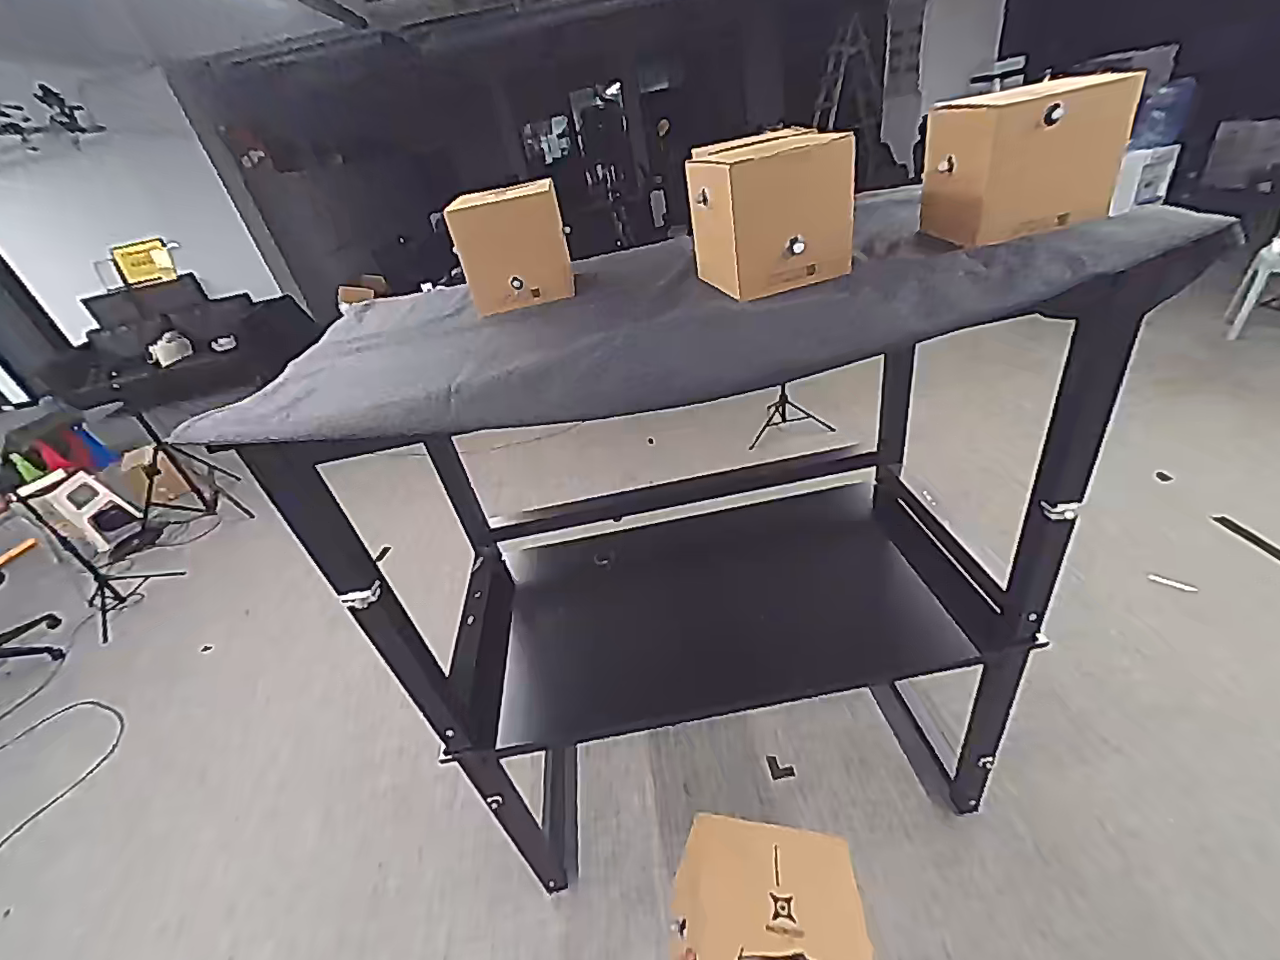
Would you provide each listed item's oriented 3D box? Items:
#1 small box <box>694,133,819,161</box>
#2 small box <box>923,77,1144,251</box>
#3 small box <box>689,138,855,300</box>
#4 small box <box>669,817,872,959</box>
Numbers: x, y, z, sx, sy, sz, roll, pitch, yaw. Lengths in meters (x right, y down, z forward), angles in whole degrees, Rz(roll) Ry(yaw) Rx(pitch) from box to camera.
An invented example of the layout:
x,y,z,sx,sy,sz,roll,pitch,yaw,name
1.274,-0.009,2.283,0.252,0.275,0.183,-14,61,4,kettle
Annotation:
x,y,z,sx,sy,sz,roll,pitch,yaw,name
0.199,-0.491,0.942,0.179,0.176,0.168,-10,33,2,small box
0.509,-0.422,0.736,0.168,0.176,0.179,-10,32,4,small box
0.178,-0.366,0.761,0.168,0.176,0.179,-16,34,-6,small box
0.122,0.486,0.545,0.168,0.176,0.179,10,28,0,small box
